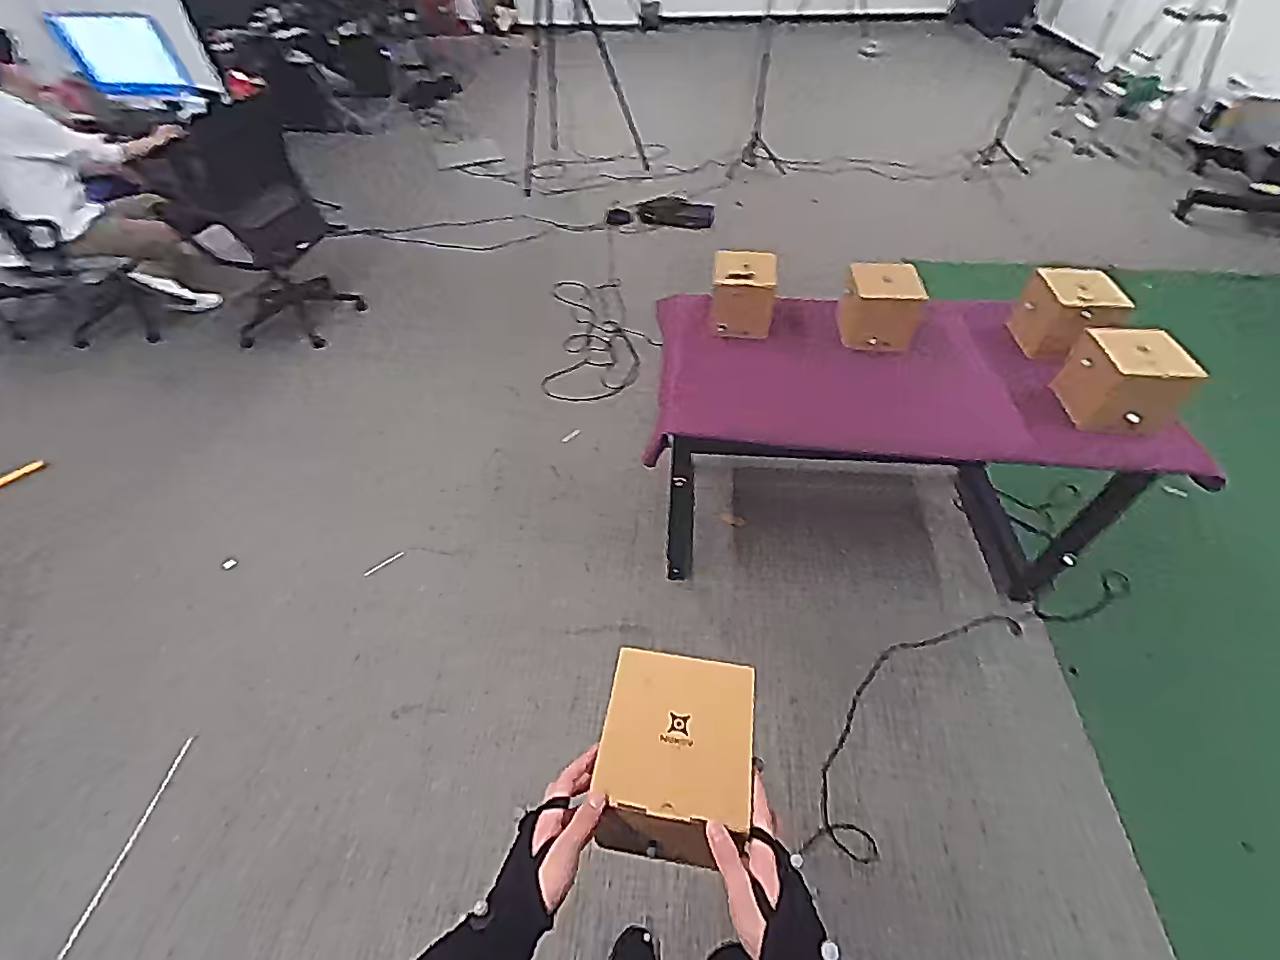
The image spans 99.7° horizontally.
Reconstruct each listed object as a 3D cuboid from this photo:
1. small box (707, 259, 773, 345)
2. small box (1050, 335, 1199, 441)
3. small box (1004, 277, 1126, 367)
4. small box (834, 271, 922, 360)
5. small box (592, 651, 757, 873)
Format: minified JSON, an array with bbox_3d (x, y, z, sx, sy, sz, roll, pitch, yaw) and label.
[{"bbox_3d":[0.281,-0.503,1.534,0.168,0.176,0.179,6,50,6],"label":"small box"},{"bbox_3d":[1.097,-0.213,1.246,0.168,0.176,0.179,3,48,7],"label":"small box"},{"bbox_3d":[1.111,-0.418,1.433,0.168,0.176,0.179,2,48,5],"label":"small box"},{"bbox_3d":[0.642,-0.452,1.483,0.168,0.176,0.179,3,49,6],"label":"small box"},{"bbox_3d":[0.043,0.337,0.650,0.168,0.176,0.179,7,44,7],"label":"small box"}]
